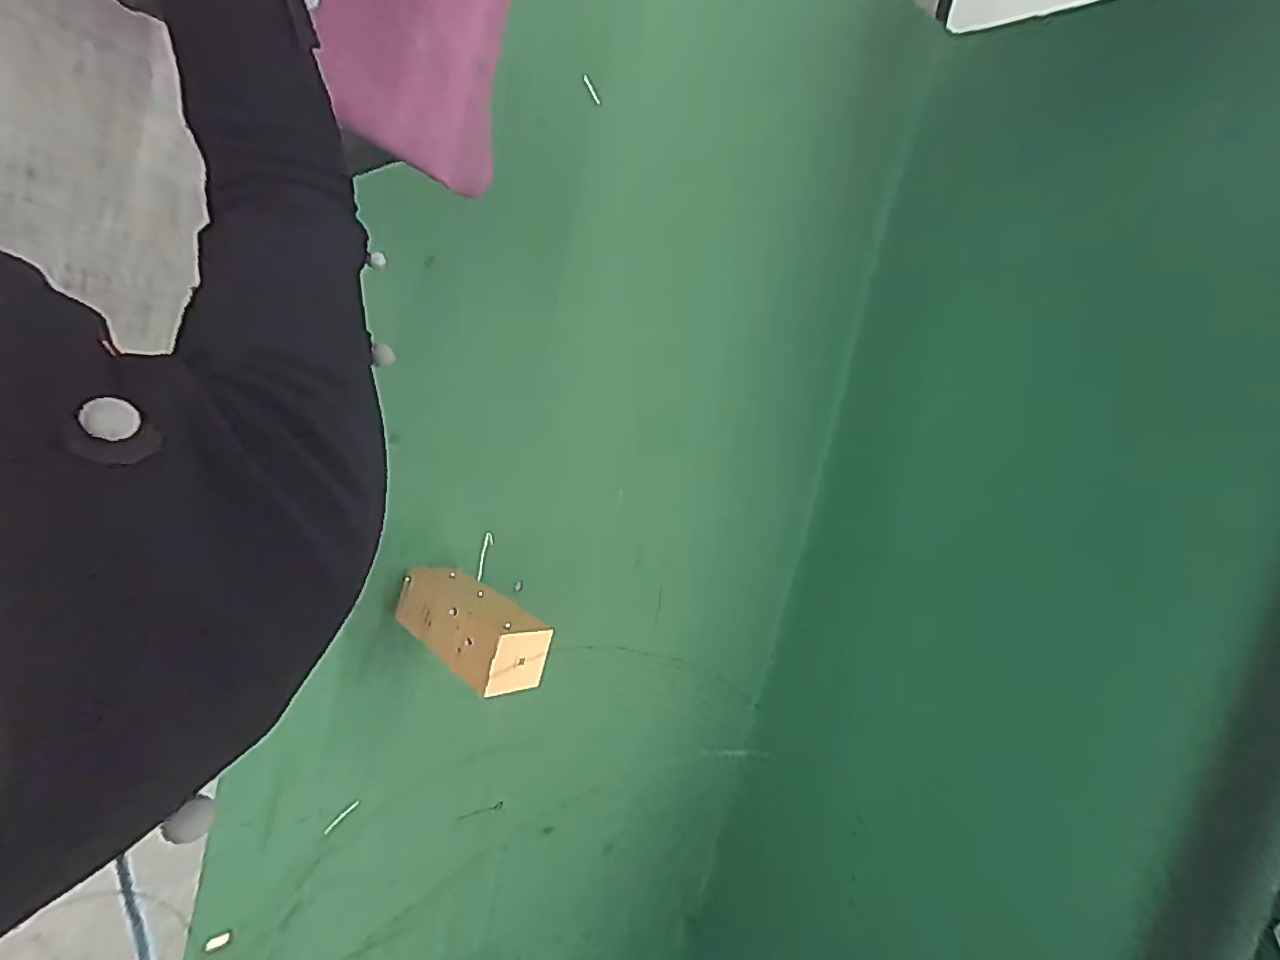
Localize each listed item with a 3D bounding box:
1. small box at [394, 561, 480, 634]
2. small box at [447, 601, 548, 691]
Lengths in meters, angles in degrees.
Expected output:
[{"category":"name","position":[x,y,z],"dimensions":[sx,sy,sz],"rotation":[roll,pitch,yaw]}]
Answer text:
[{"category":"small box","position":[-0.623,0.352,1.647],"dimensions":[0.179,0.176,0.168],"rotation":[9,97,-49]},{"category":"small box","position":[-0.380,0.432,1.442],"dimensions":[0.179,0.176,0.168],"rotation":[11,96,-51]}]
